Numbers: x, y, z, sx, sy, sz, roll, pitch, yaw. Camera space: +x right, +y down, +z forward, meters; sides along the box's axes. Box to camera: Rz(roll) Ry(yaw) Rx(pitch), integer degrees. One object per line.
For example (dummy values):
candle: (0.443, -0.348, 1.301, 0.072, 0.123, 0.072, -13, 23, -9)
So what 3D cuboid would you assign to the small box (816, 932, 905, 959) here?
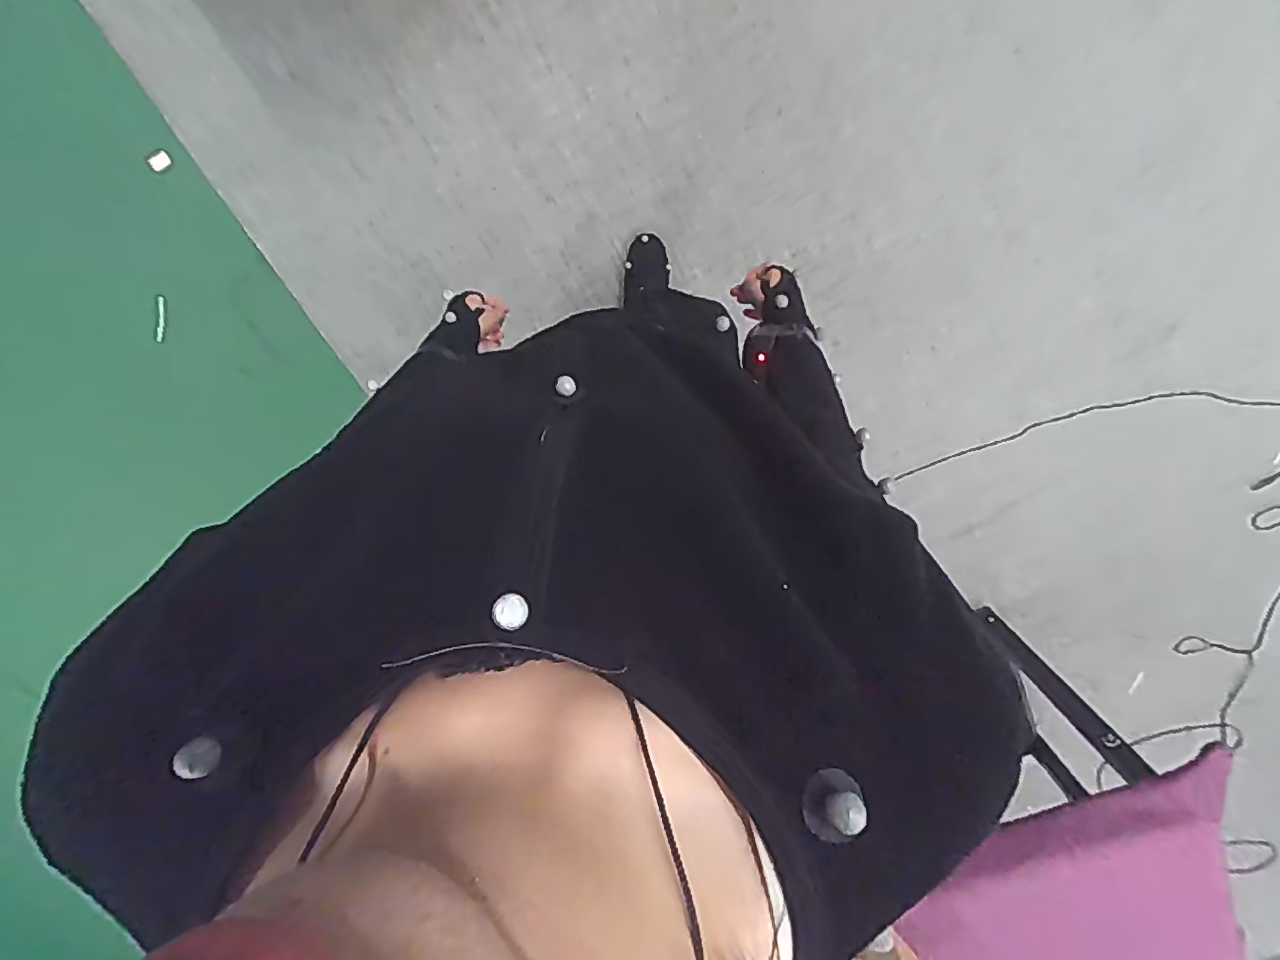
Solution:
small box: (0.499, 1.104, 1.135, 0.168, 0.176, 0.179, -32, 109, 11)
